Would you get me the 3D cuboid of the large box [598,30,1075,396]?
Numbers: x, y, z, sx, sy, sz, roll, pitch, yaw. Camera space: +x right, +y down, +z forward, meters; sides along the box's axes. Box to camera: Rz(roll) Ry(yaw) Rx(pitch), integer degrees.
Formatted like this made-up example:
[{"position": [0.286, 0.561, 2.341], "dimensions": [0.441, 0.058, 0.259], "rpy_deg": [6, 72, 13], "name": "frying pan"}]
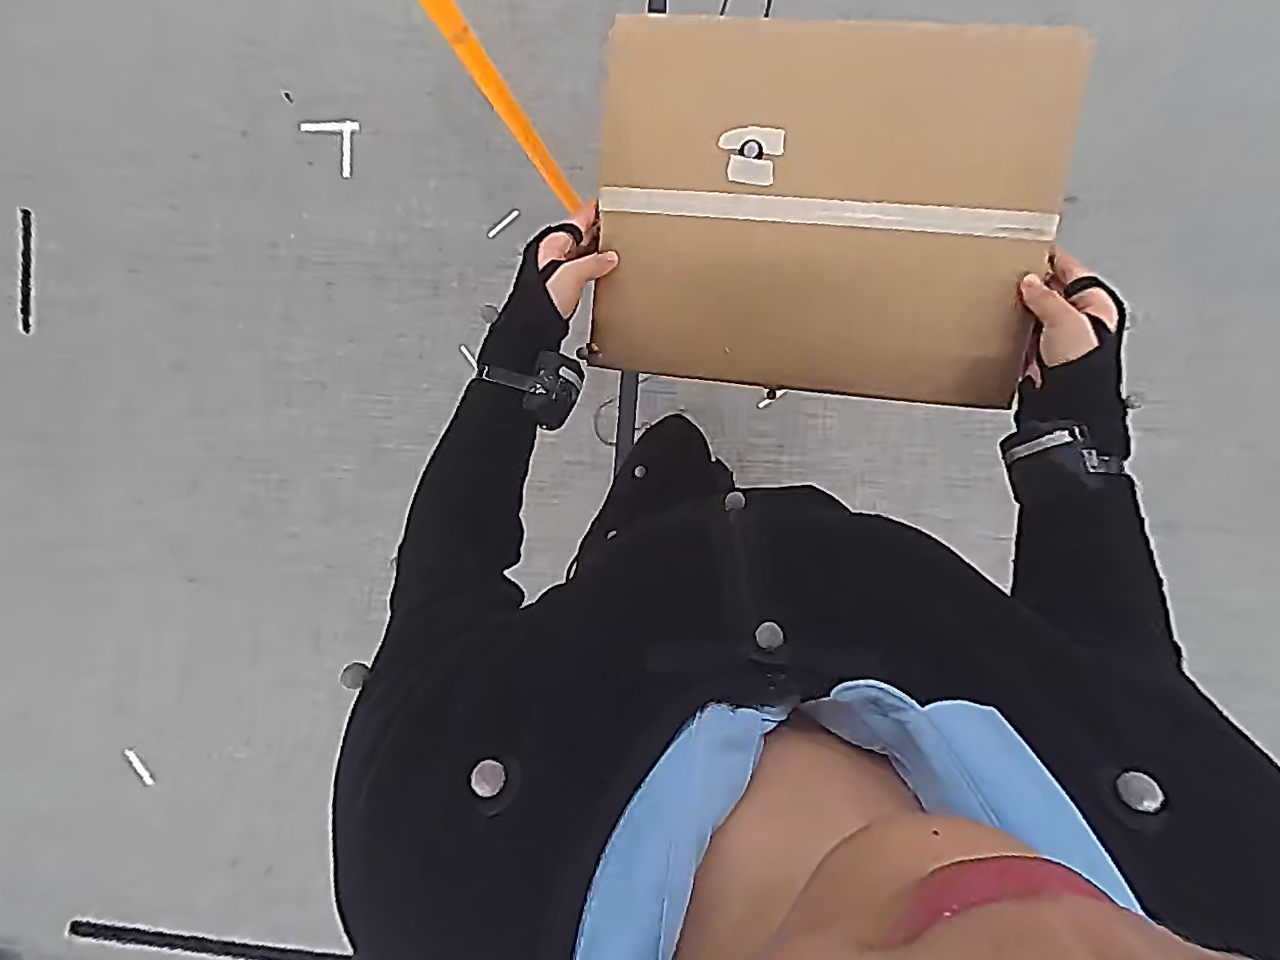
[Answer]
[{"position": [0.186, -0.276, 0.654], "dimensions": [0.408, 0.320, 0.320], "rpy_deg": [7, 100, 7], "name": "large box"}]
